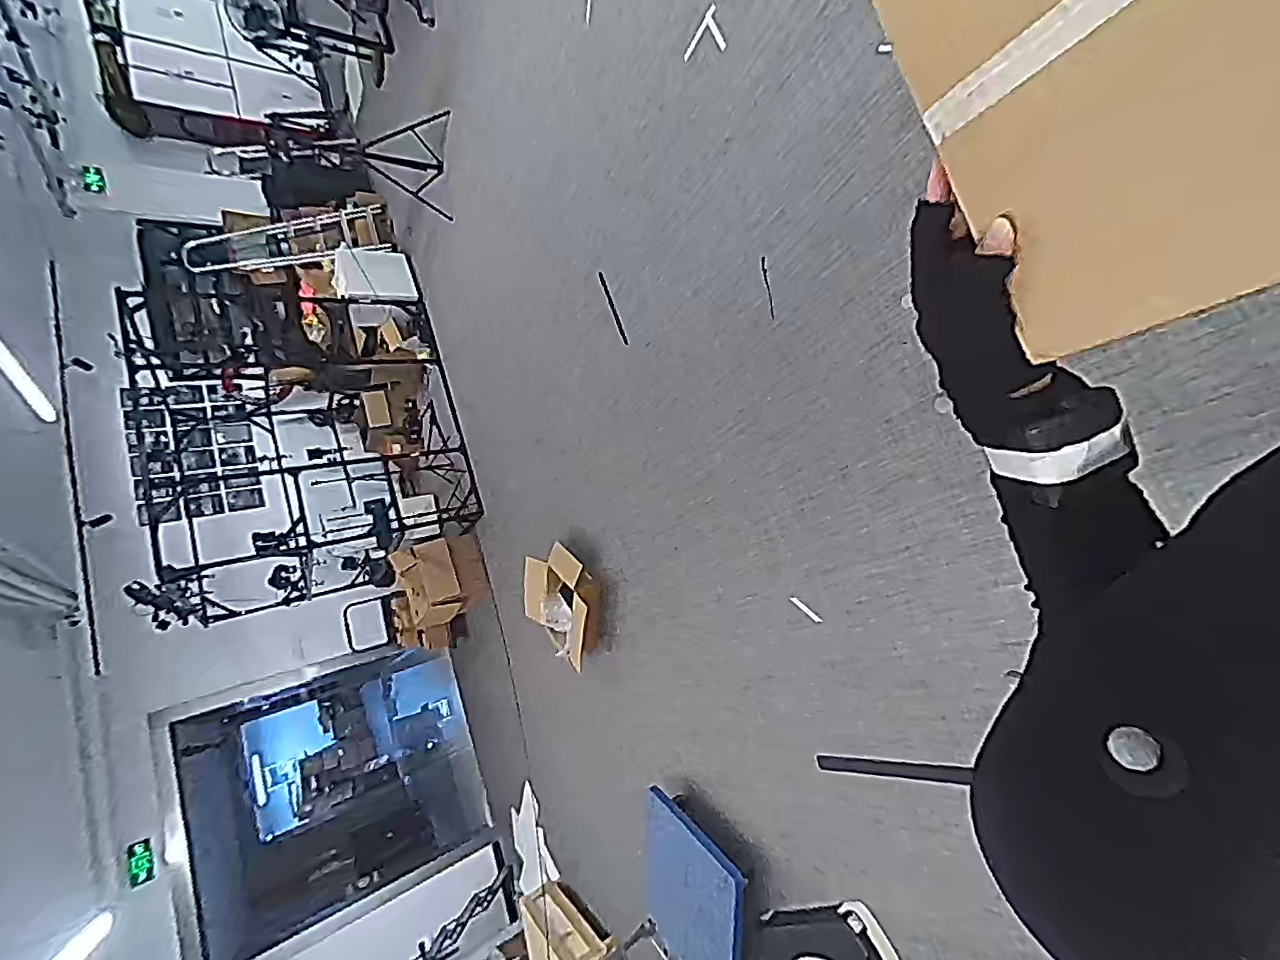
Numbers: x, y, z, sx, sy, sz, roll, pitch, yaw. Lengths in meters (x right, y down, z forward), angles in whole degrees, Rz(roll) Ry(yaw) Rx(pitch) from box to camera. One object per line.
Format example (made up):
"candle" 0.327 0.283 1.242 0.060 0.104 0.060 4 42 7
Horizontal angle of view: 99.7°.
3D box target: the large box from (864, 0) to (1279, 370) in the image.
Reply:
"large box" 0.396 -0.303 0.256 0.408 0.320 0.320 -23 91 56
